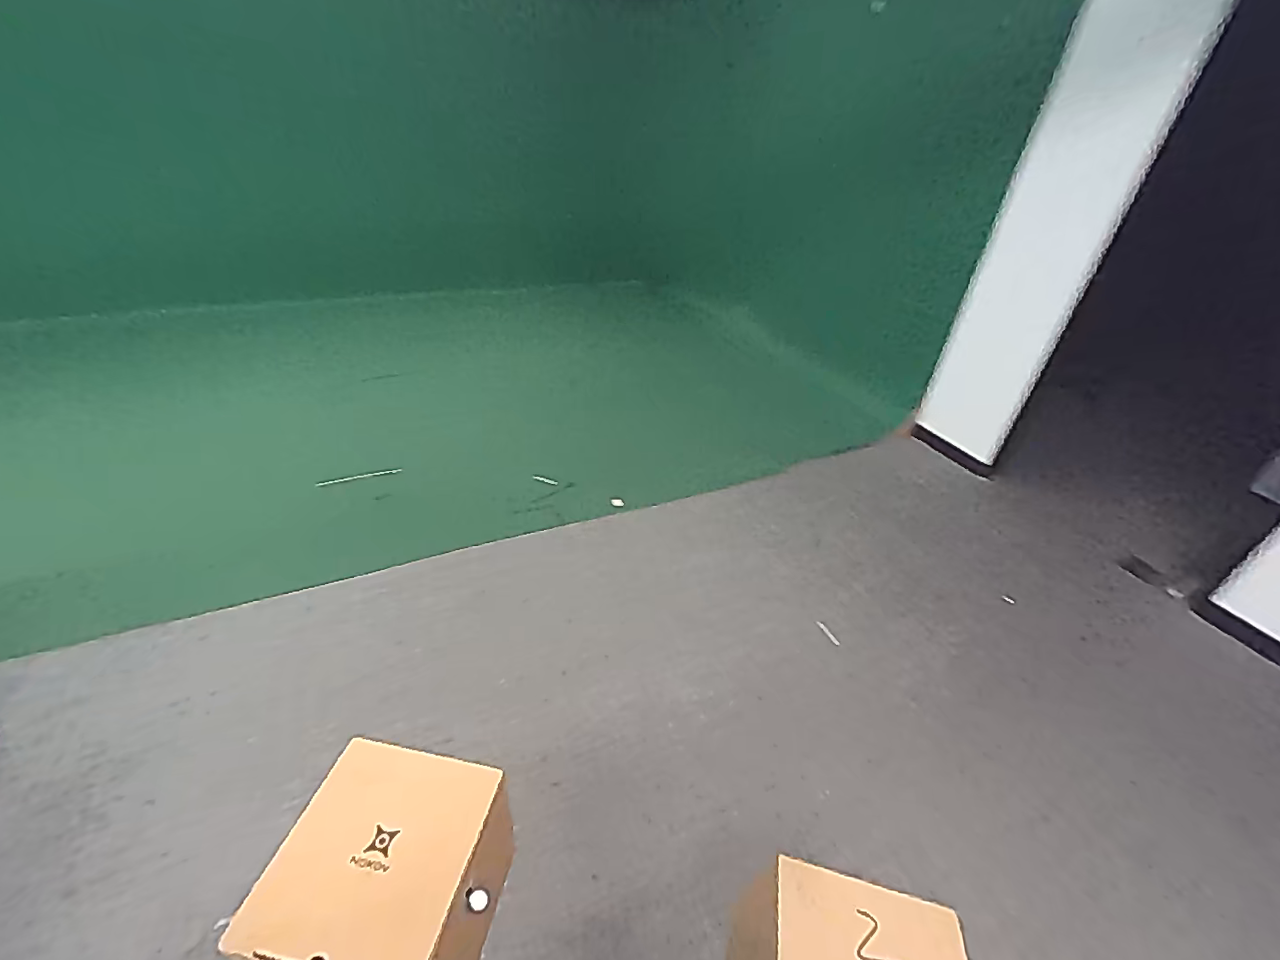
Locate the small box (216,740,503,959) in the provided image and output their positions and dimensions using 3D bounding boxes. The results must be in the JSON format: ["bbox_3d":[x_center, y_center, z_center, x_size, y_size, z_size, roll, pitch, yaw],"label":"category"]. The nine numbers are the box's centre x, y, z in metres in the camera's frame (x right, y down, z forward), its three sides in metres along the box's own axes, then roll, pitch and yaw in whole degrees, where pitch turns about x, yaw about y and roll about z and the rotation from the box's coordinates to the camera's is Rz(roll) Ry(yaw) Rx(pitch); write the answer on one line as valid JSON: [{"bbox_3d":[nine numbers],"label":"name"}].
[{"bbox_3d":[-0.239,0.390,0.518,0.168,0.176,0.179,9,35,6],"label":"small box"}]
